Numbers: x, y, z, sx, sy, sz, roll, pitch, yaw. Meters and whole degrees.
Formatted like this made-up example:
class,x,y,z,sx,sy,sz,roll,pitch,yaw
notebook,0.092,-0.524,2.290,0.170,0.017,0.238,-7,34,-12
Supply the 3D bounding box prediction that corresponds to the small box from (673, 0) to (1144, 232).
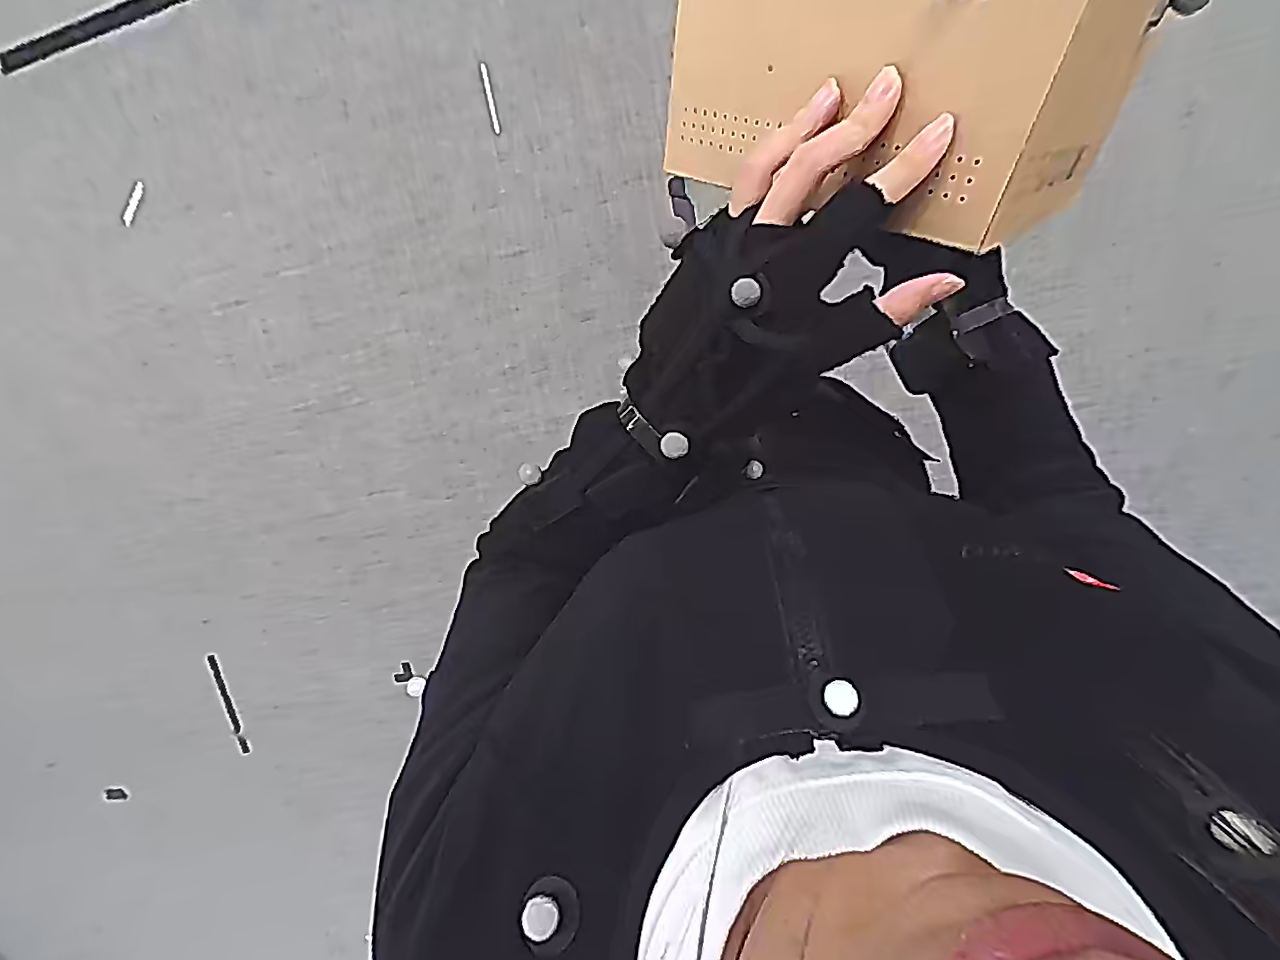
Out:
class,x,y,z,sx,sy,sz,roll,pitch,yaw
small box,0.137,-0.236,0.274,0.179,0.168,0.176,34,137,32
